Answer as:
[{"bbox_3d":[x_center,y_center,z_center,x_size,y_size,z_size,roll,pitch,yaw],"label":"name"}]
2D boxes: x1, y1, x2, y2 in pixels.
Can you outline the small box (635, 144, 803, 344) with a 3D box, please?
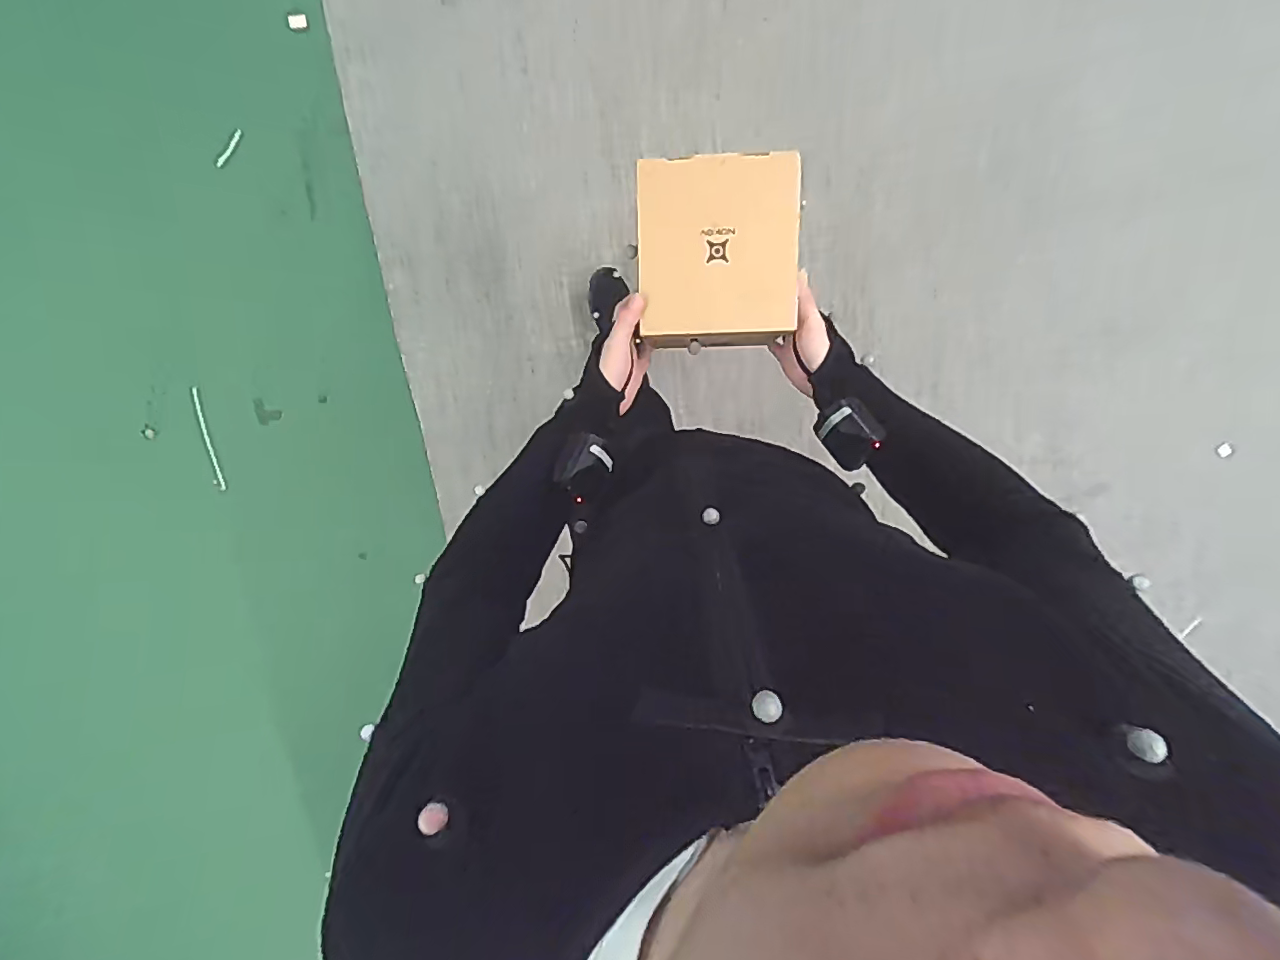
[{"bbox_3d":[0.083,-0.251,0.619,0.168,0.176,0.179,-1,98,4],"label":"small box"}]
